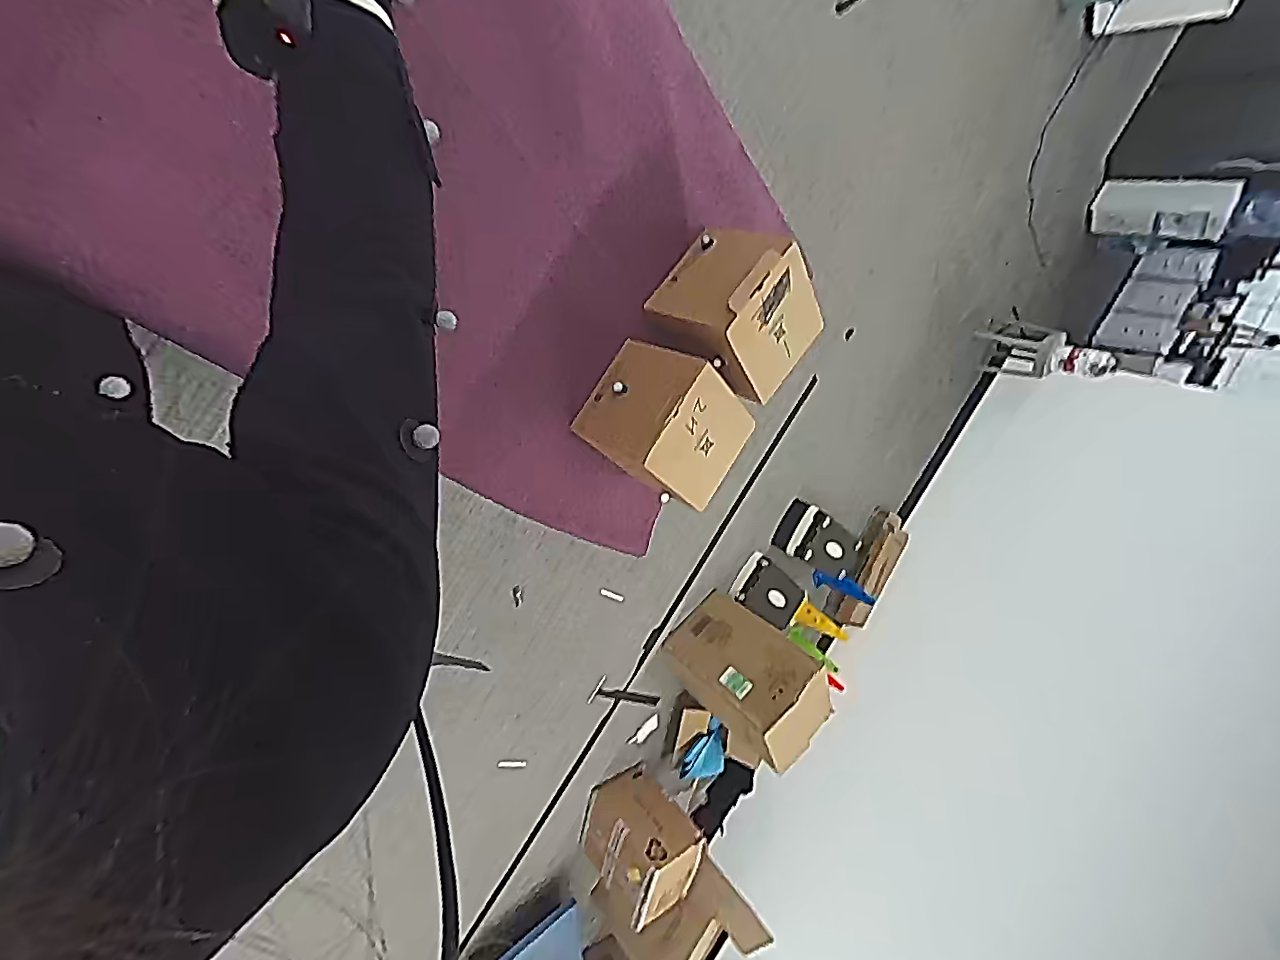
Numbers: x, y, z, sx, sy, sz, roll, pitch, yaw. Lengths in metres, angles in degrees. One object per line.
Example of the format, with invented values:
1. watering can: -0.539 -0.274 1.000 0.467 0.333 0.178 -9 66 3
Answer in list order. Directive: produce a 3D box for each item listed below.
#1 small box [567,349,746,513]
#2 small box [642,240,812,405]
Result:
1. small box: 0.025 -0.080 0.827 0.168 0.176 0.179 -57 138 -6
2. small box: 0.133 -0.248 0.838 0.168 0.176 0.179 -52 139 -7
